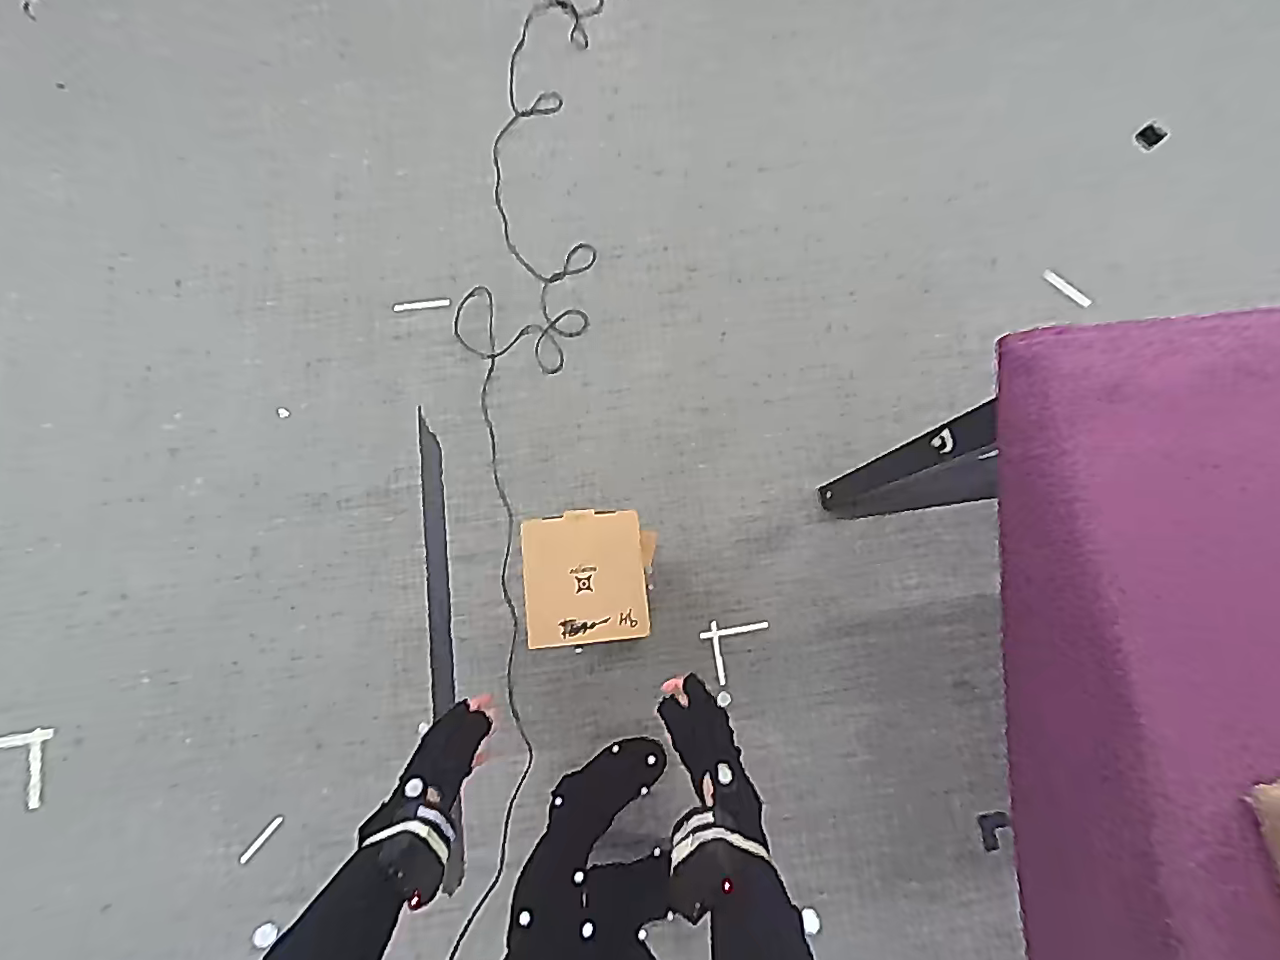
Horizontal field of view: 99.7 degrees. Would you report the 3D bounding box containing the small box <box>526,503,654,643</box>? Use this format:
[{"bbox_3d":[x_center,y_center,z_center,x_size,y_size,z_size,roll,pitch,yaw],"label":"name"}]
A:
[{"bbox_3d":[-0.071,0.140,0.809,0.168,0.176,0.179,-6,79,-2],"label":"small box"}]
